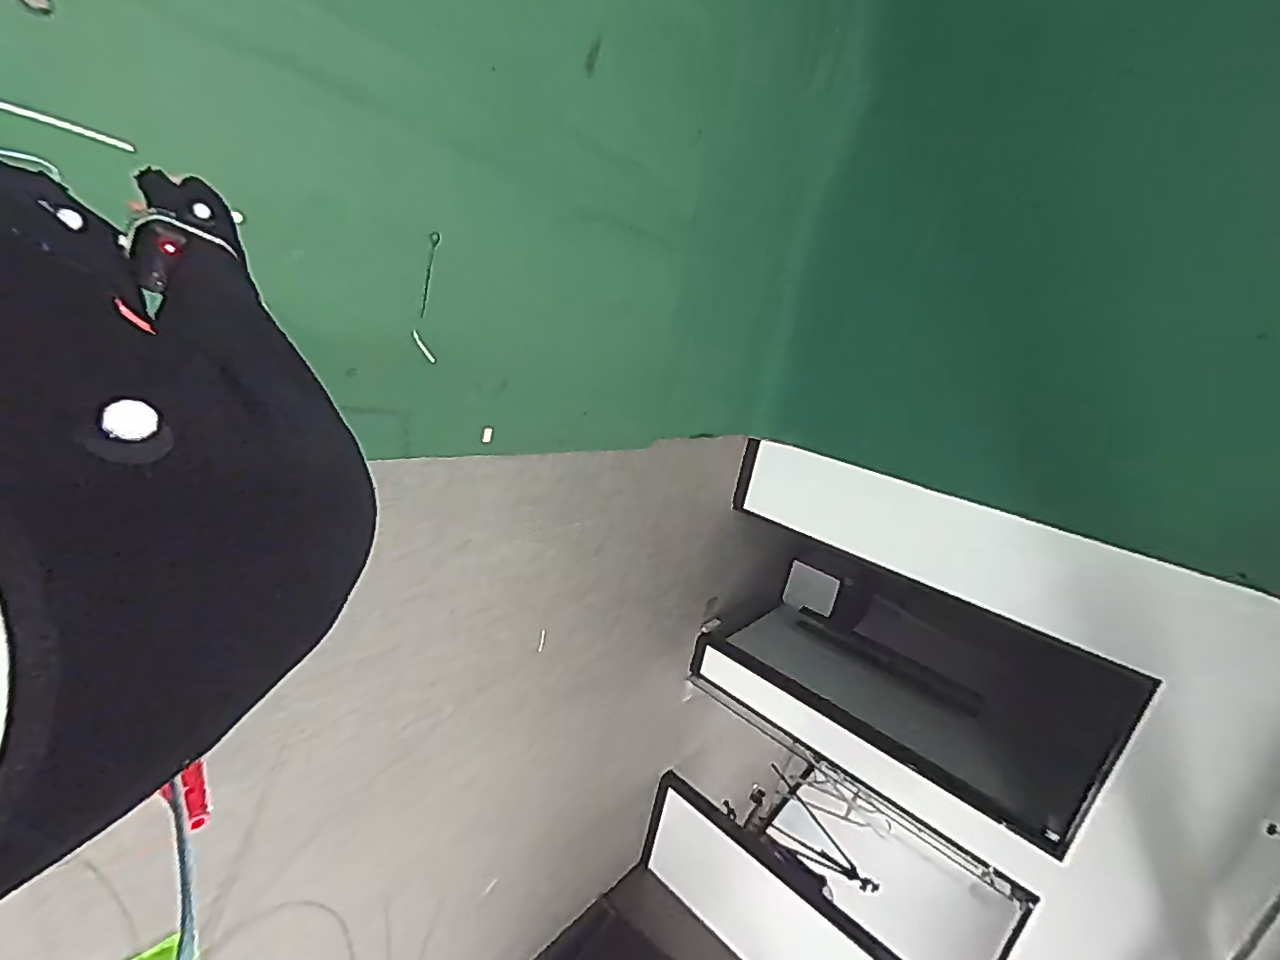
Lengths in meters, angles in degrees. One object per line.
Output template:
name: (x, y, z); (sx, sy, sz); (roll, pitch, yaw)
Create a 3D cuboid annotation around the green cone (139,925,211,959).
green cone: (-1.258, 1.483, 1.474); (0.202, 0.368, 0.200); (-9, 115, -48)
